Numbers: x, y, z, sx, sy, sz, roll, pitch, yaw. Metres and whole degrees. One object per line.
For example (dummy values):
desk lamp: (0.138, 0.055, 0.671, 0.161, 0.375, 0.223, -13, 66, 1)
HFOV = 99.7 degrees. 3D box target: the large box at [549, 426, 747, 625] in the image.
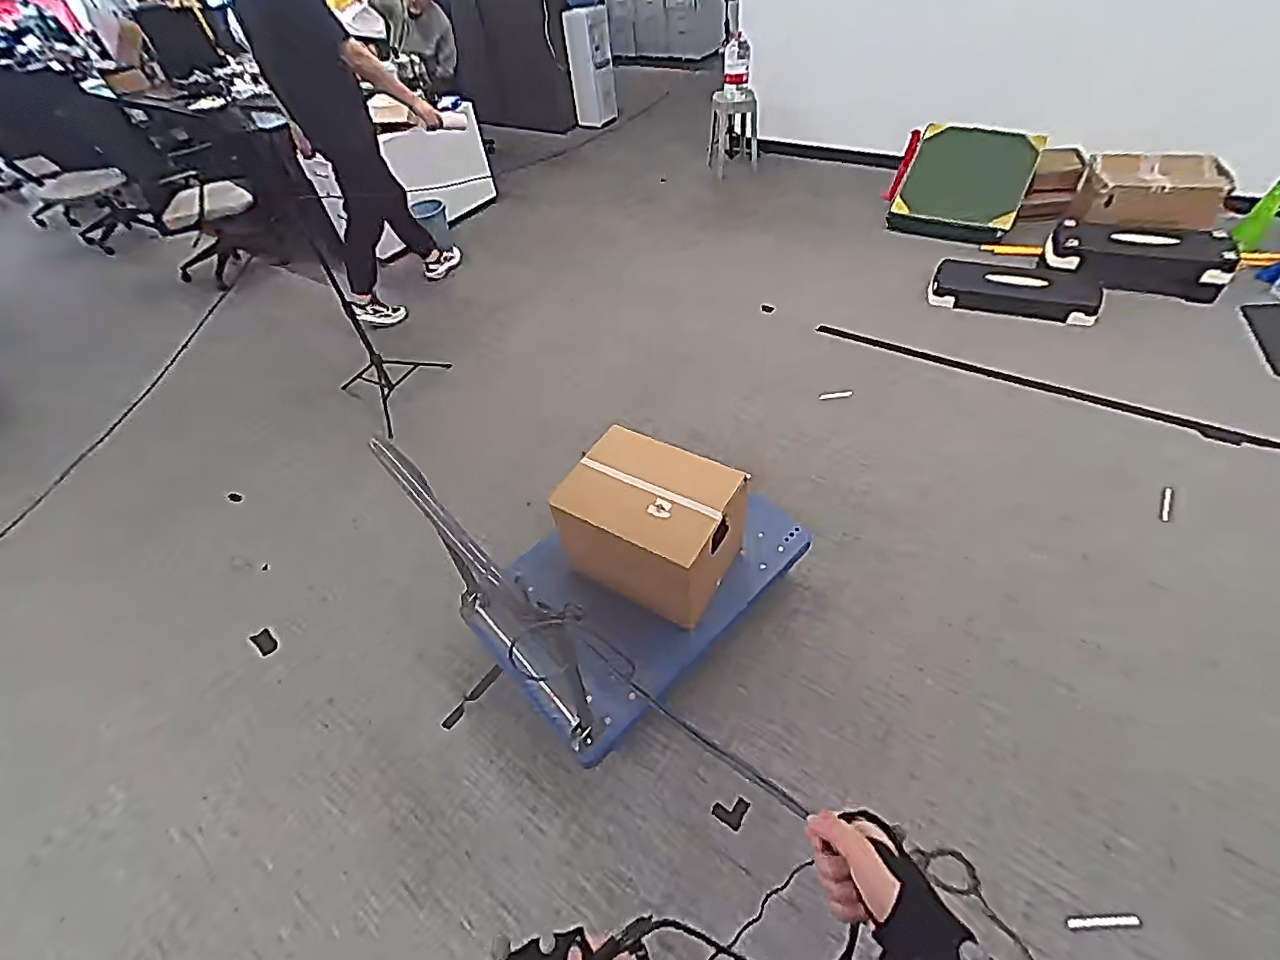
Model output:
large box: (0.029, 0.116, 1.440, 0.408, 0.320, 0.320, 23, 56, 23)
